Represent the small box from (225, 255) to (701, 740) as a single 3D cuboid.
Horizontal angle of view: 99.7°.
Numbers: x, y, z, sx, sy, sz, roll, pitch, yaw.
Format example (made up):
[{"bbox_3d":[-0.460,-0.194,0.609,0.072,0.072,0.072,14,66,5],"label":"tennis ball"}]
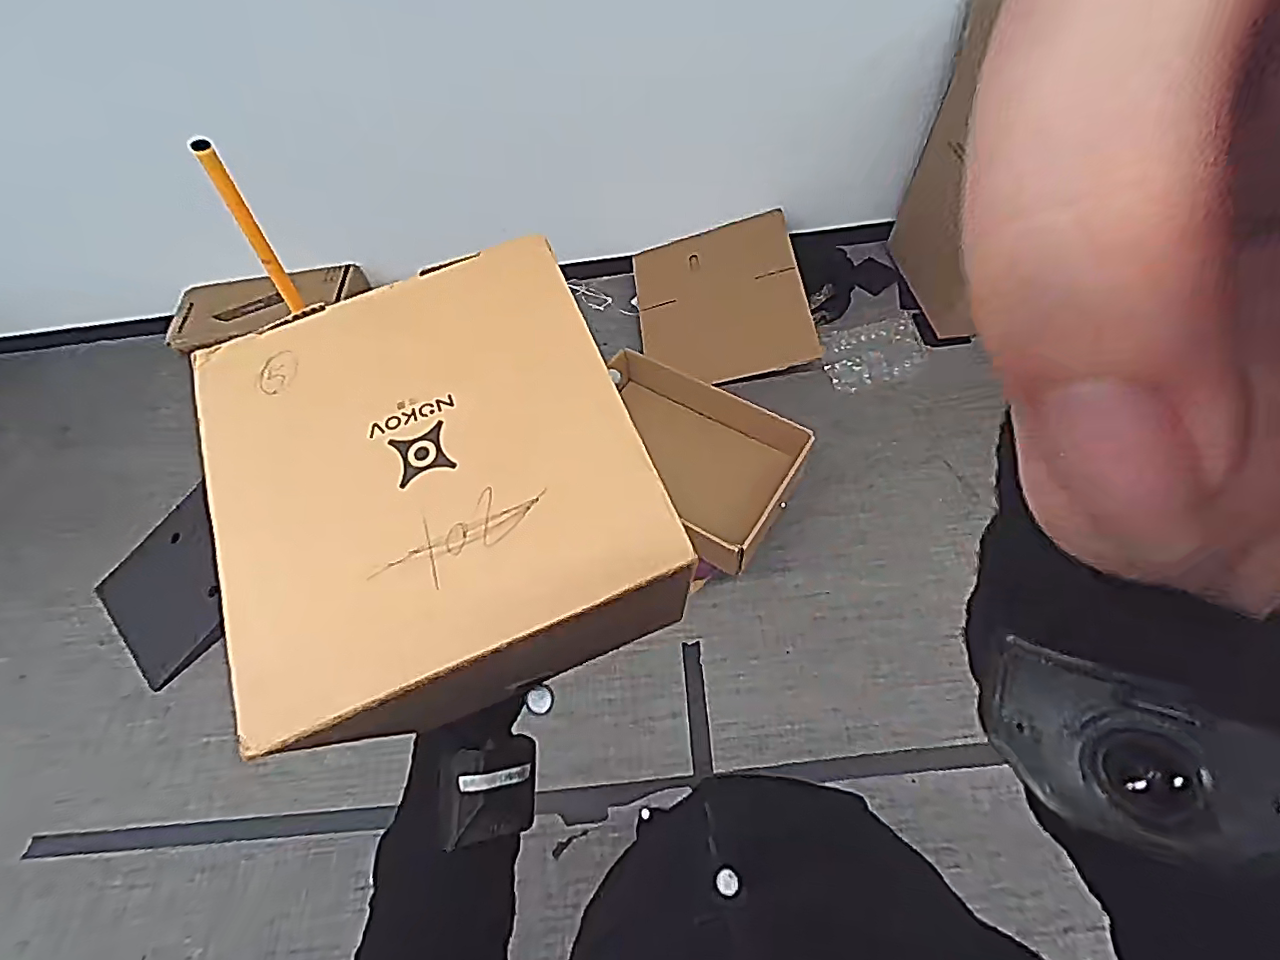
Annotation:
[{"bbox_3d":[-0.080,0.020,0.301,0.168,0.176,0.179,-22,70,-6],"label":"small box"}]
